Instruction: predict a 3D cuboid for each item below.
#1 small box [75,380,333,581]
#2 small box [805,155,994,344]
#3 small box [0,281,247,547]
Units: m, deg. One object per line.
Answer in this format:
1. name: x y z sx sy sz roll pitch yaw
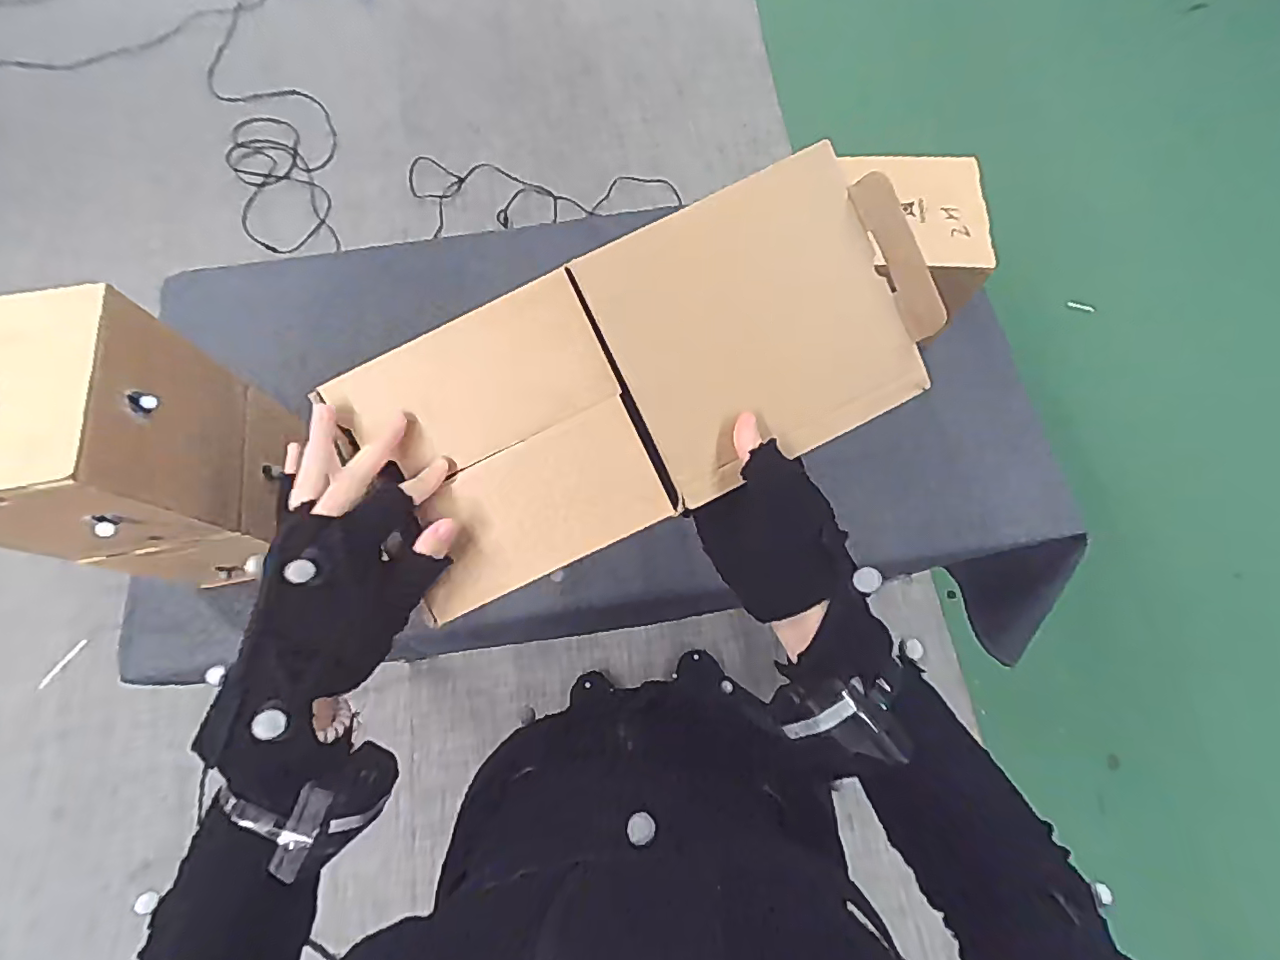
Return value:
1. small box: -0.489 0.009 0.638 0.168 0.176 0.179 -10 72 -3
2. small box: 0.324 -0.296 0.718 0.179 0.176 0.168 3 72 2
3. small box: -0.492 -0.044 0.483 0.168 0.176 0.179 -9 71 -3
